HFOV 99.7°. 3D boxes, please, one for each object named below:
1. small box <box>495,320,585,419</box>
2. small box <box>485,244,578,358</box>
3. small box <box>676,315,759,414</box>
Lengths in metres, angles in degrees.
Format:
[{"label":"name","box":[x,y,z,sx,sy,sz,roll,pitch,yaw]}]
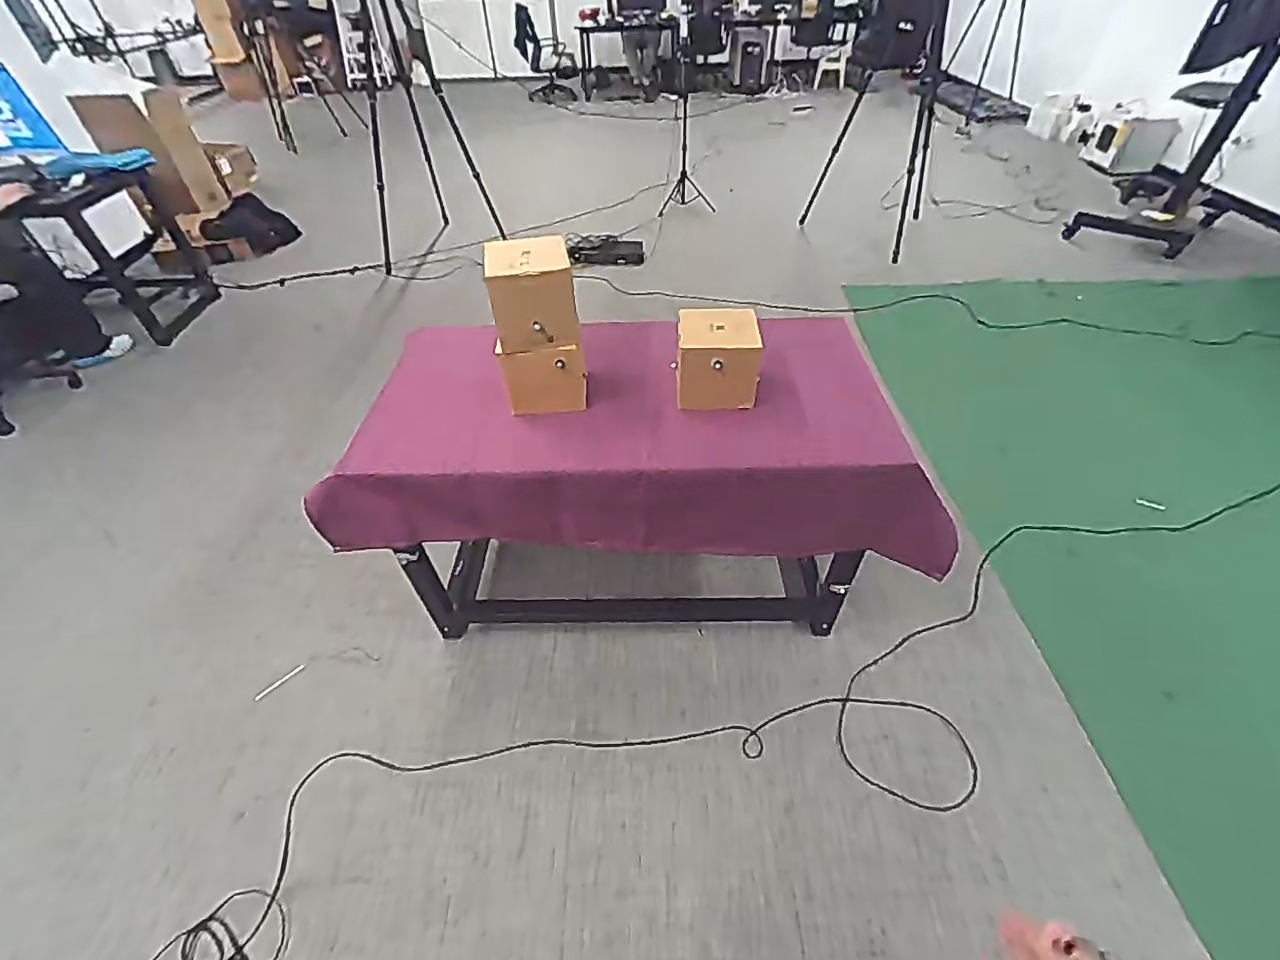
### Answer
[{"label":"small box","box":[-0.224,-0.256,1.261,0.179,0.176,0.168,-4,44,-2]},{"label":"small box","box":[-0.230,-0.382,1.153,0.168,0.176,0.179,-10,45,-7]},{"label":"small box","box":[0.172,-0.265,1.249,0.179,0.176,0.168,1,45,3]}]
